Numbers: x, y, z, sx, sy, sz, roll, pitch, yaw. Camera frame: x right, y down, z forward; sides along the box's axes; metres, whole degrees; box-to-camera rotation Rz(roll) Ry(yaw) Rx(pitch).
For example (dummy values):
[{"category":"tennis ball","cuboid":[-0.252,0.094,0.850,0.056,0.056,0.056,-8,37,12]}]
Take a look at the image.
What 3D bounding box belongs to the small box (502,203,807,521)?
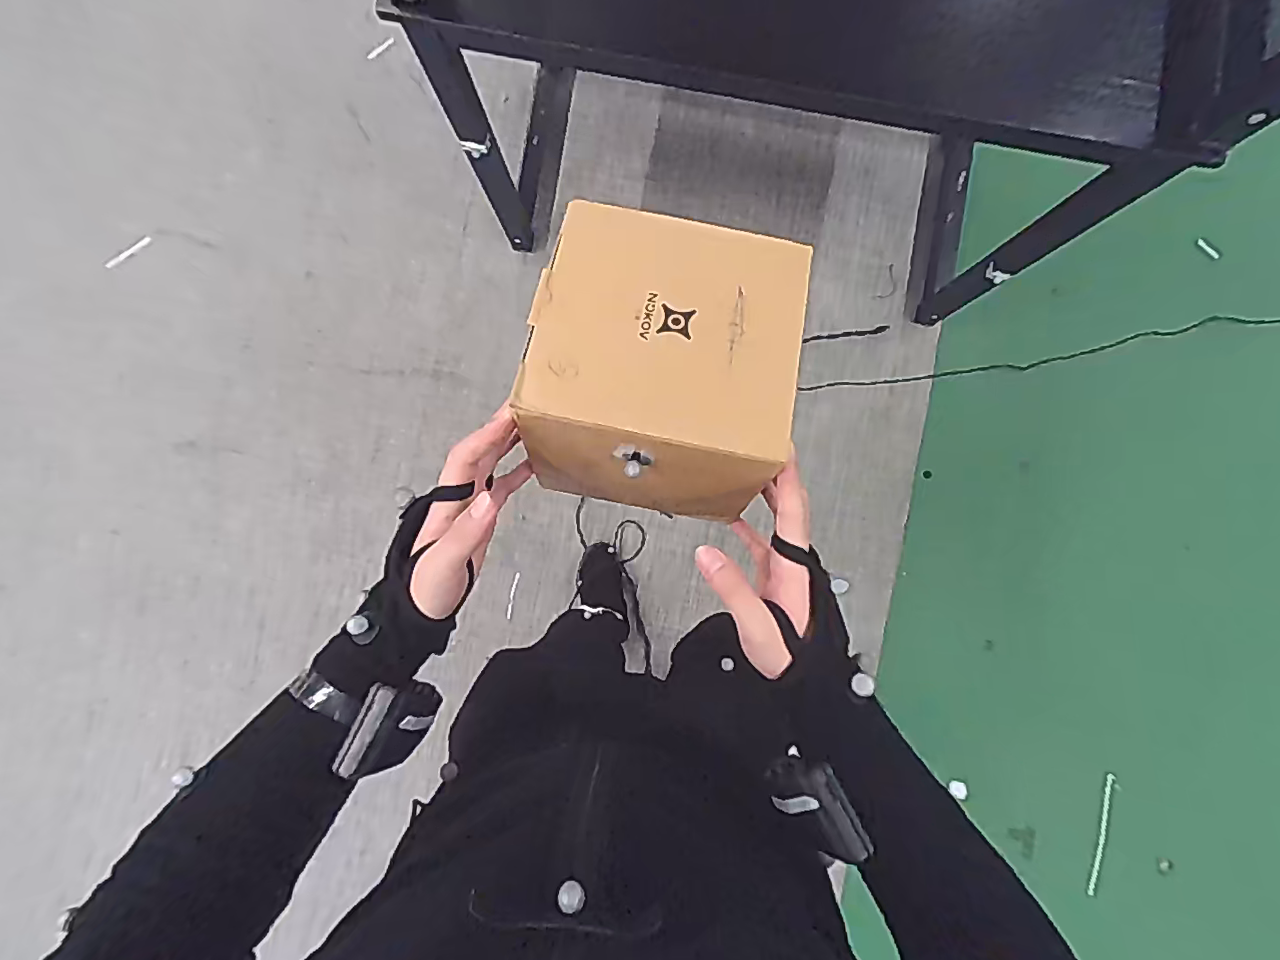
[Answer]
[{"category":"small box","cuboid":[0.012,-0.077,0.427,0.179,0.176,0.168,12,71,0]}]
